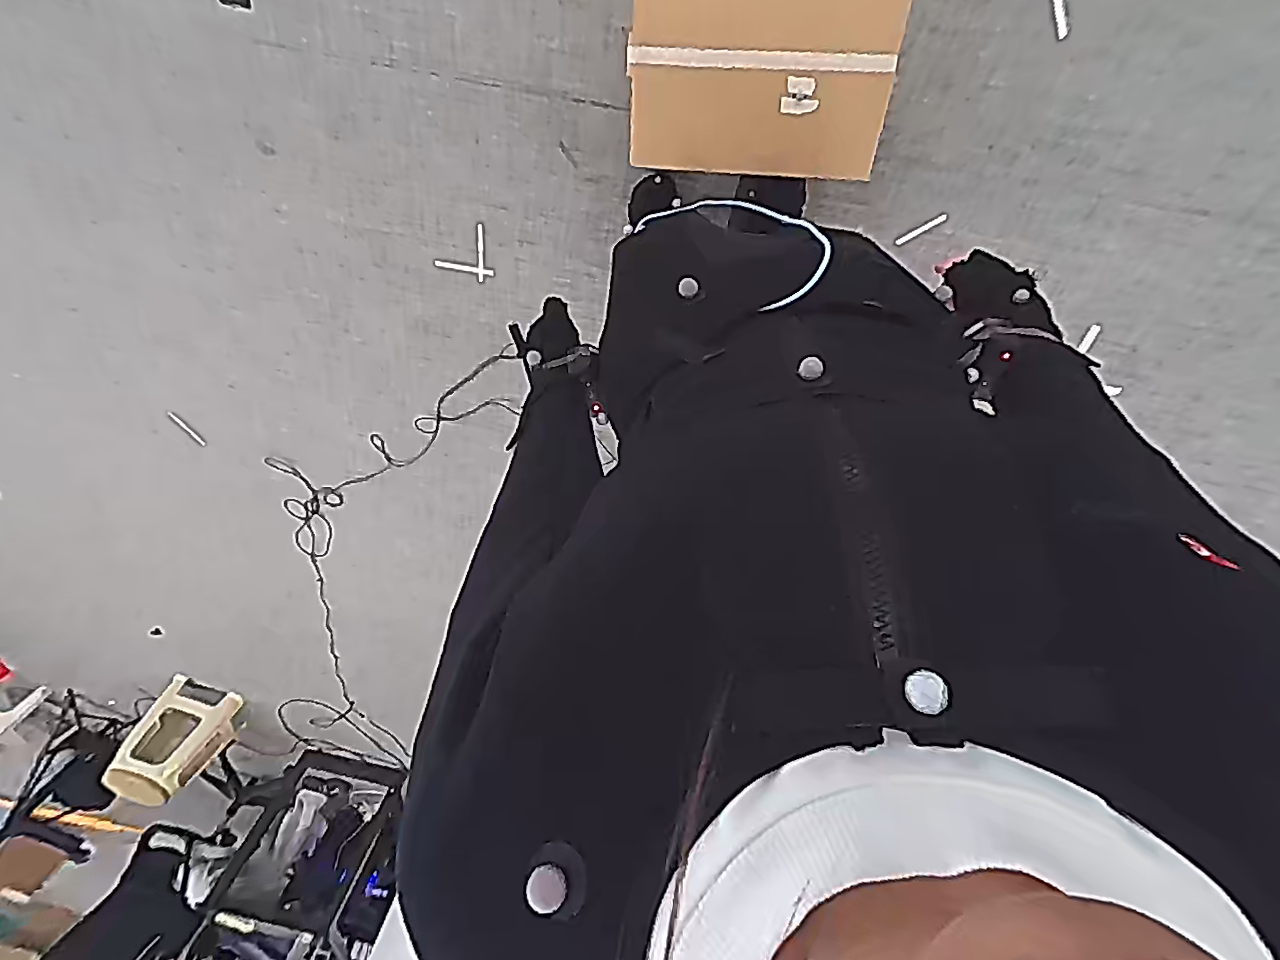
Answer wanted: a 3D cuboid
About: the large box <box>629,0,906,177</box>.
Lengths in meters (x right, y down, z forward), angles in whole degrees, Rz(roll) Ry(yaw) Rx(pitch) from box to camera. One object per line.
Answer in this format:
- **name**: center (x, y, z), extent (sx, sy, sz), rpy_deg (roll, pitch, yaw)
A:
- **large box**: center (0.197, -0.730, 0.950), extent (0.408, 0.320, 0.320), rpy_deg (6, 126, 4)
